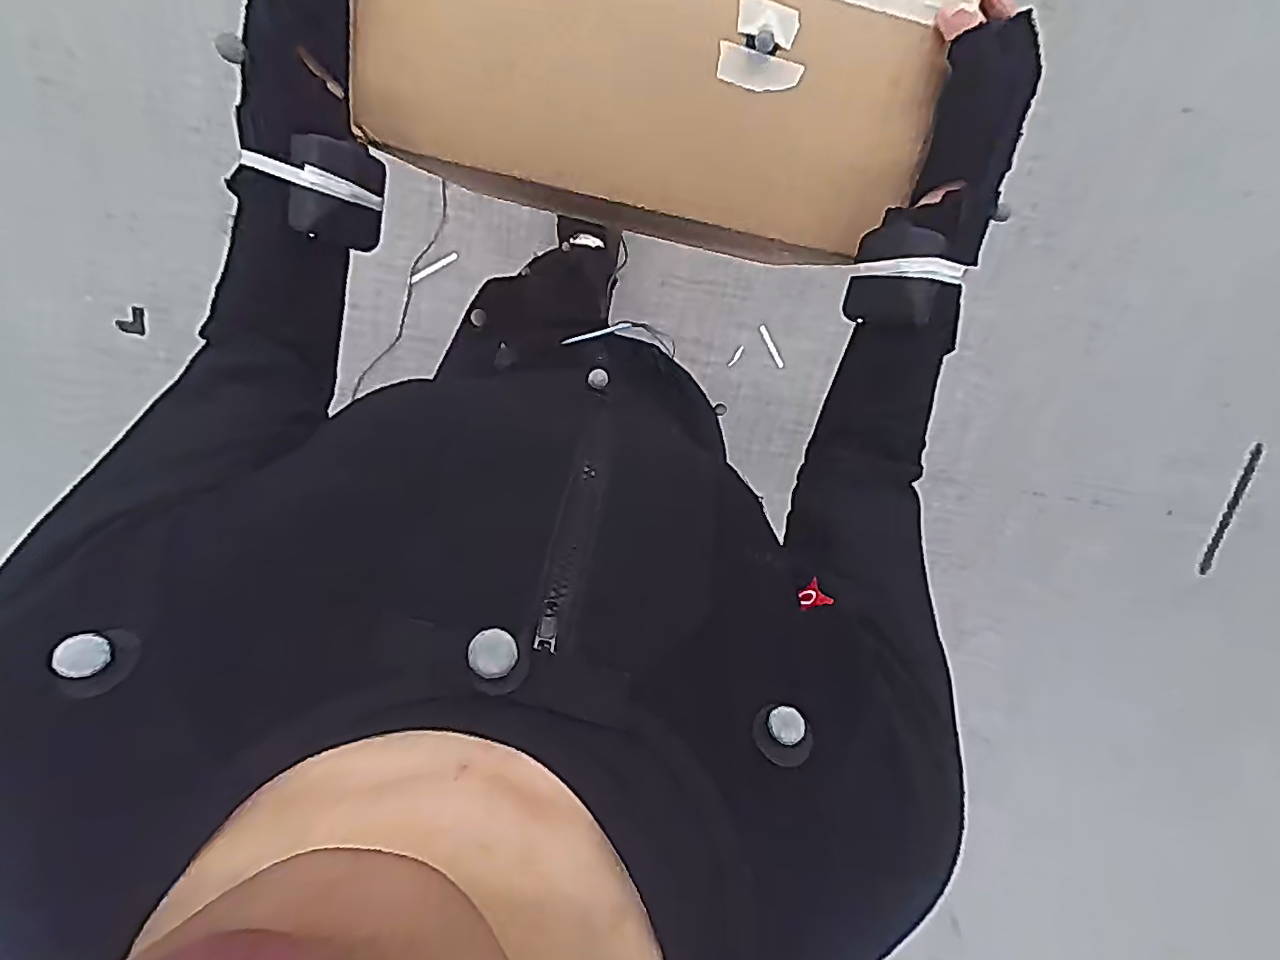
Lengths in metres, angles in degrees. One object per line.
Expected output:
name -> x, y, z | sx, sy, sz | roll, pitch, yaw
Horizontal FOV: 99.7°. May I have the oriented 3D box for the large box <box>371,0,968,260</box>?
large box -> 0.020, -0.402, 0.494 | 0.408, 0.320, 0.320 | 10, 112, -7
